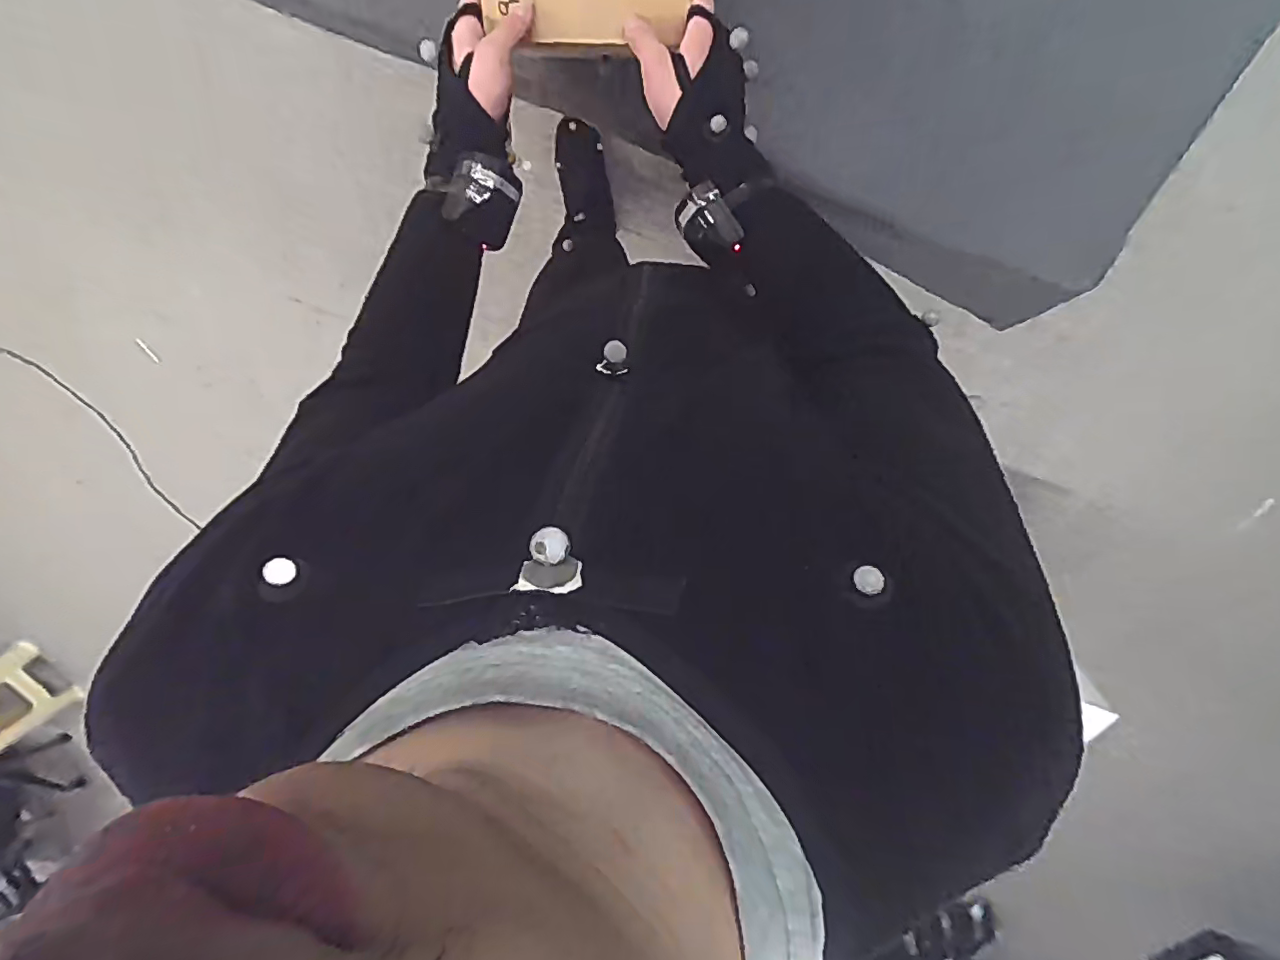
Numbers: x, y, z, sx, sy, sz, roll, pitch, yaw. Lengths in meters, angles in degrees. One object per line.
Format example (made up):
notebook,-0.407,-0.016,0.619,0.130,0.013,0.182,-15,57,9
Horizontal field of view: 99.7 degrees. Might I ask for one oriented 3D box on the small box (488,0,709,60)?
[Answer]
small box,-0.029,-0.470,0.458,0.179,0.176,0.168,3,123,0
